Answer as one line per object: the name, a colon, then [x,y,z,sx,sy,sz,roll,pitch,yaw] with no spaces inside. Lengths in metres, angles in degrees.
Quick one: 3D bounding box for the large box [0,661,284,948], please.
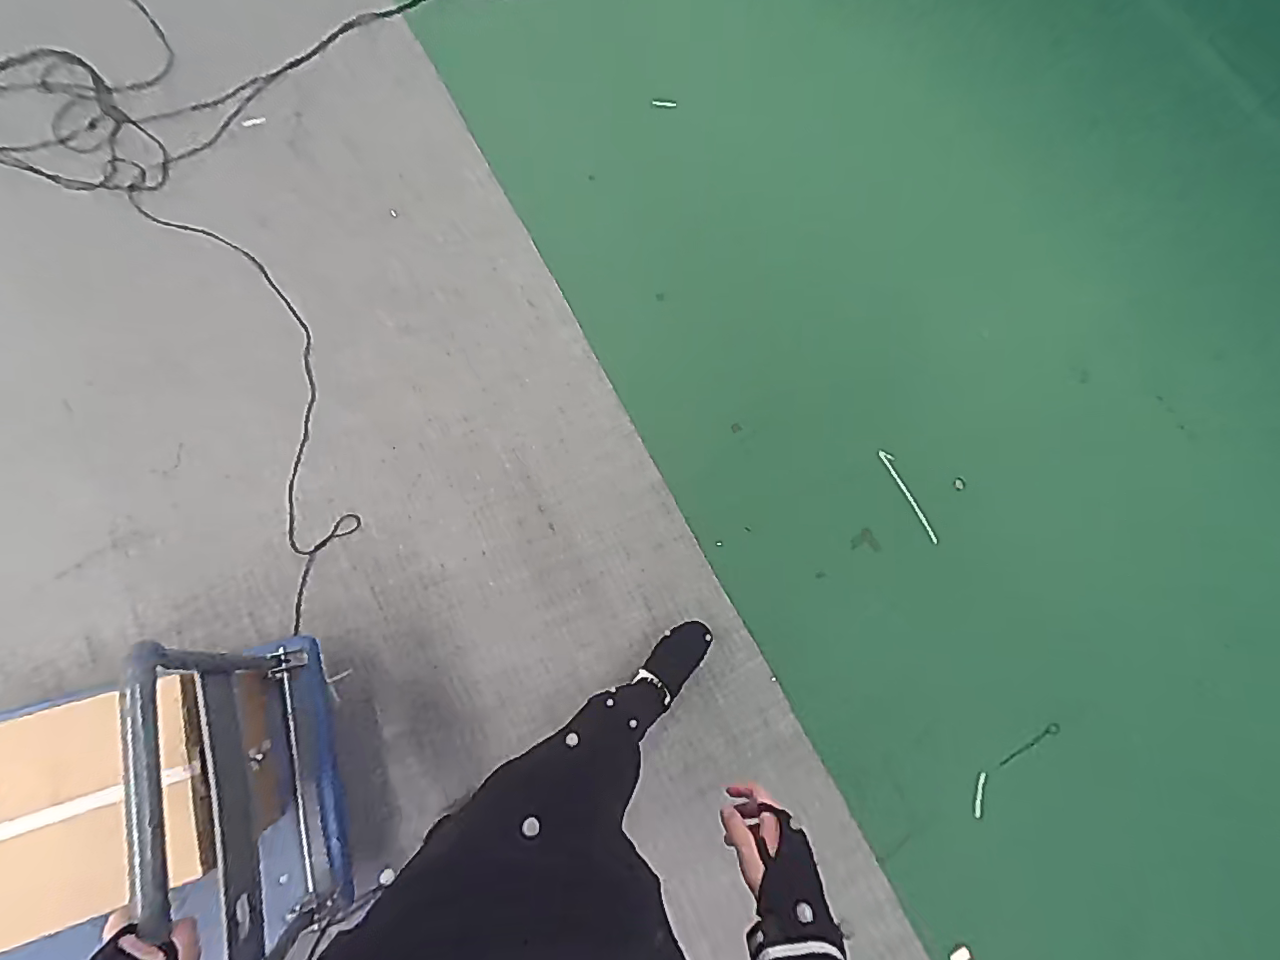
large box: [-0.919,0.535,0.939,0.408,0.320,0.320,-14,77,-18]
